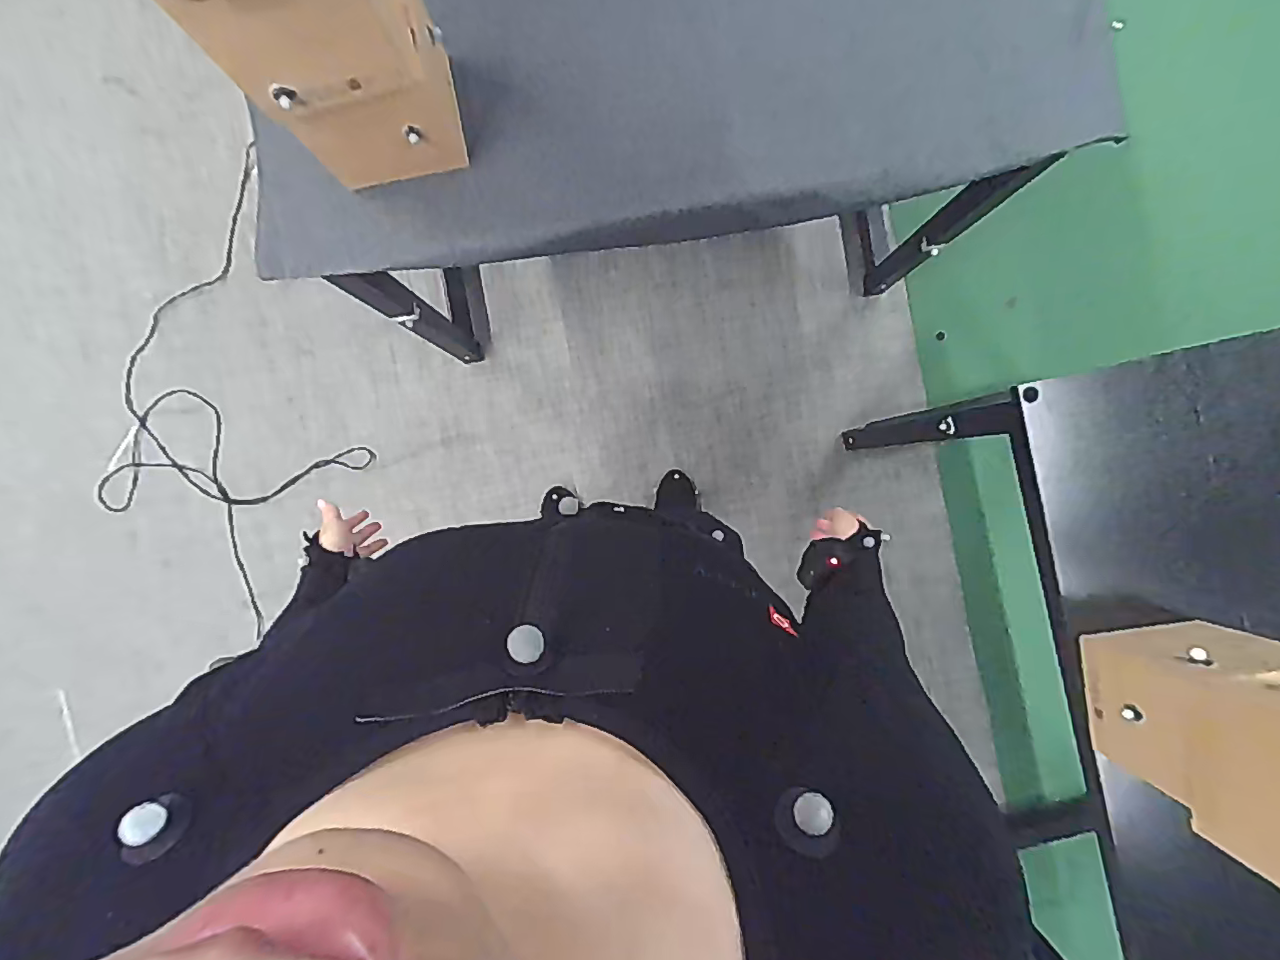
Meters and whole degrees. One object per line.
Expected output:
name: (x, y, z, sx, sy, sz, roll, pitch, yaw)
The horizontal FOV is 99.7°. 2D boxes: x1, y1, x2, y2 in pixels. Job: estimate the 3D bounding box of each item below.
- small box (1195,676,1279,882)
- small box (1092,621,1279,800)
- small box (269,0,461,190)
small box: (0.698, 0.309, 0.522, 0.168, 0.176, 0.179, 0, 91, 1)
small box: (0.718, 0.288, 0.684, 0.179, 0.176, 0.168, -8, 92, 1)
small box: (-0.342, -0.502, 0.682, 0.179, 0.176, 0.168, -12, 89, 2)
